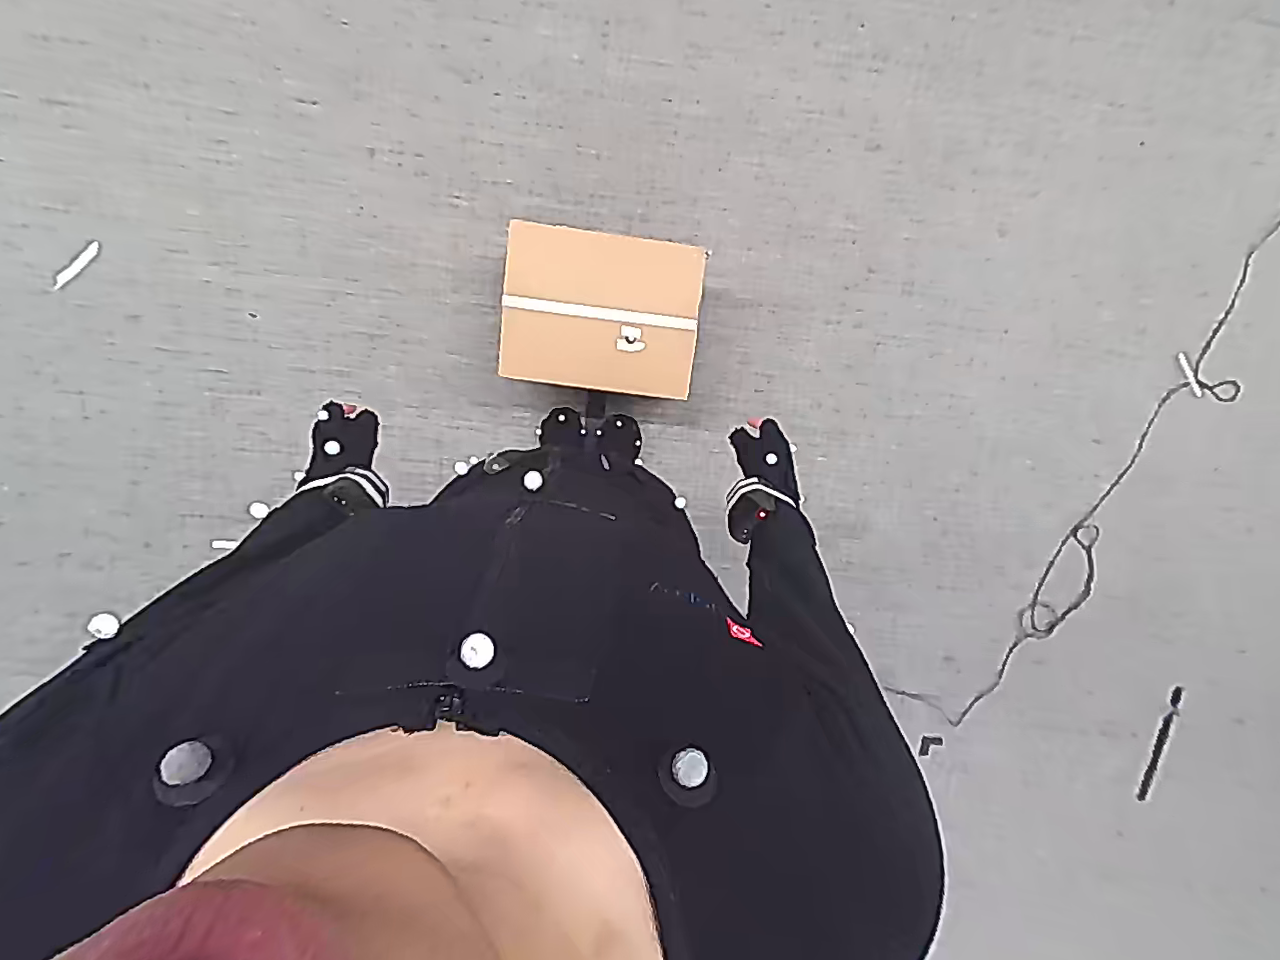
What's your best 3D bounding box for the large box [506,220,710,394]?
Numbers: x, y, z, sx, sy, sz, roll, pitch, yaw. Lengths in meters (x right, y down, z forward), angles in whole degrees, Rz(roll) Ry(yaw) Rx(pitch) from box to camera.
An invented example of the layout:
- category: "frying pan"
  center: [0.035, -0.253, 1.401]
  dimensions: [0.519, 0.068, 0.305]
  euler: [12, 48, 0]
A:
- category: "large box"
  center: [-0.079, -0.378, 1.261]
  dimensions: [0.408, 0.320, 0.320]
  euler: [6, 101, -4]
